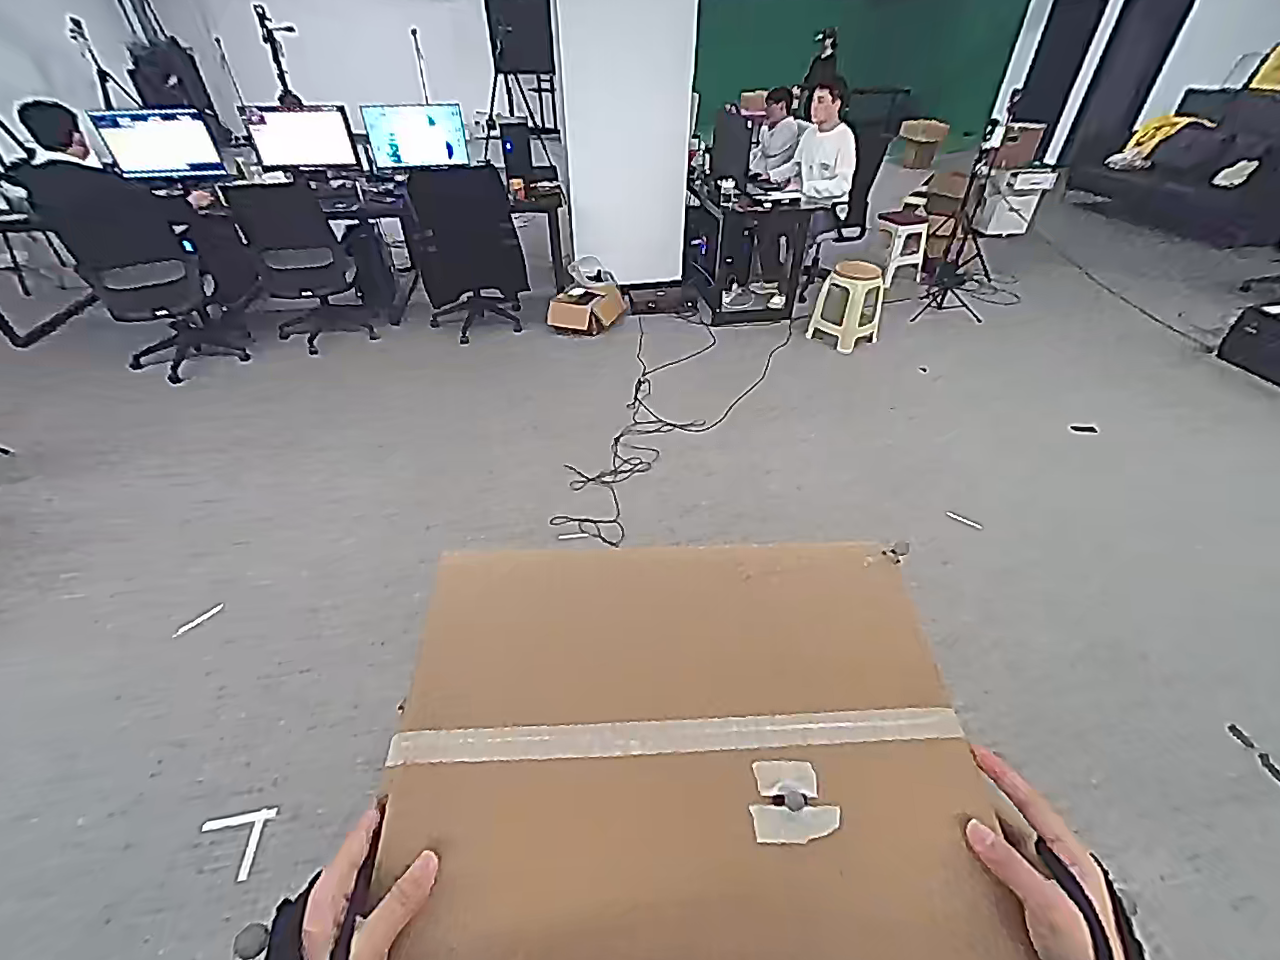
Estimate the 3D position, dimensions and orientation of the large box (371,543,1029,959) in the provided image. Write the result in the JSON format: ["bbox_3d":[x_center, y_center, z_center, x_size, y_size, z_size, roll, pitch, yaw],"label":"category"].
[{"bbox_3d":[0.025,0.276,0.519,0.408,0.320,0.320,-1,53,-3],"label":"large box"}]
